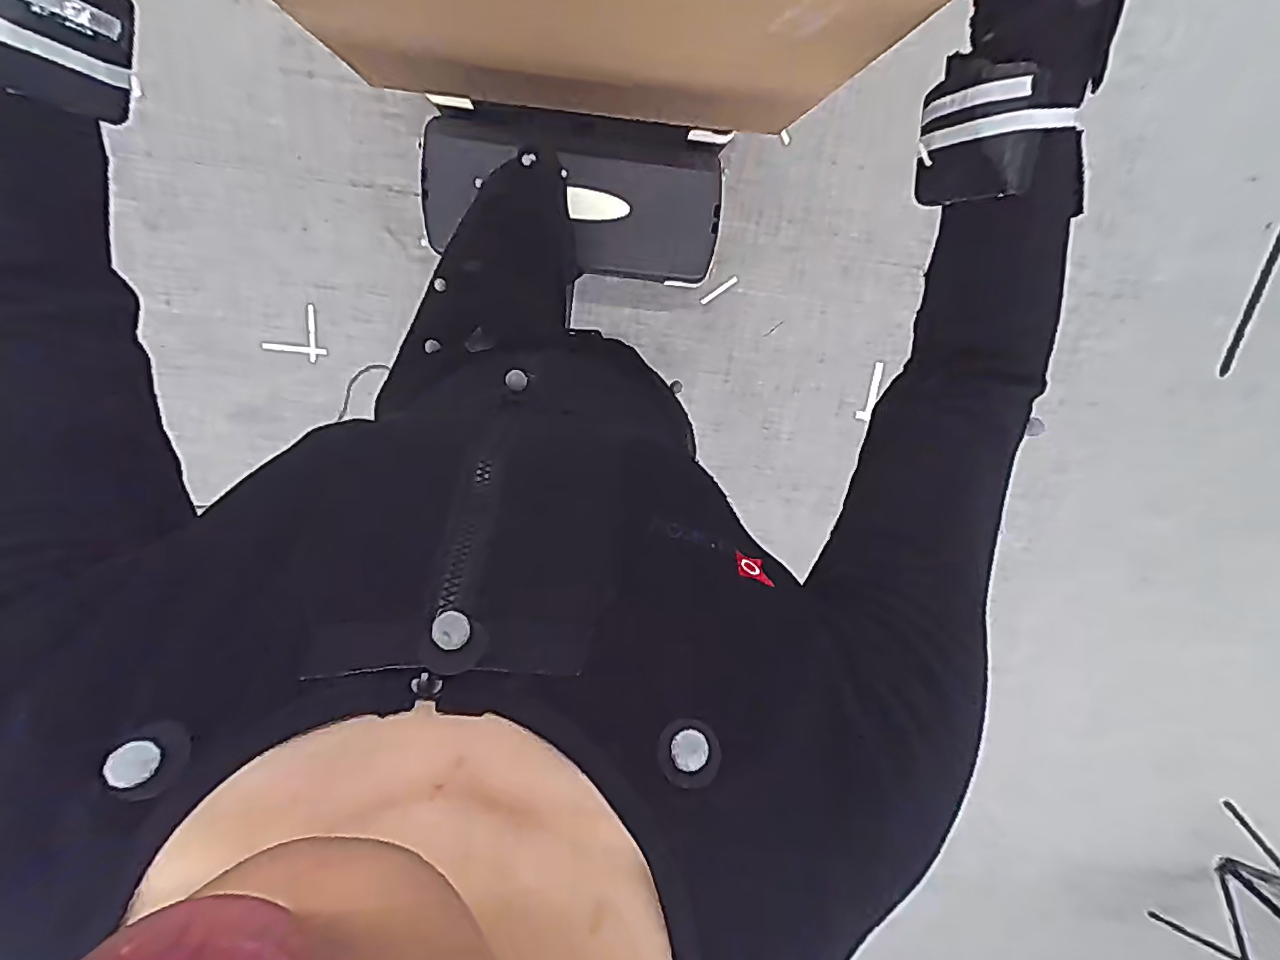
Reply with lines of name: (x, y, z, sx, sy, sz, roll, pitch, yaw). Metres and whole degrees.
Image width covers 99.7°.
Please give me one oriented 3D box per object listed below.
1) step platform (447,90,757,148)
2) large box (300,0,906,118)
step platform: (-0.067, -0.906, 1.119, 0.684, 0.204, 0.286, 4, 108, -6)
large box: (-0.033, -0.466, 0.345, 0.408, 0.320, 0.320, 2, 111, -6)
